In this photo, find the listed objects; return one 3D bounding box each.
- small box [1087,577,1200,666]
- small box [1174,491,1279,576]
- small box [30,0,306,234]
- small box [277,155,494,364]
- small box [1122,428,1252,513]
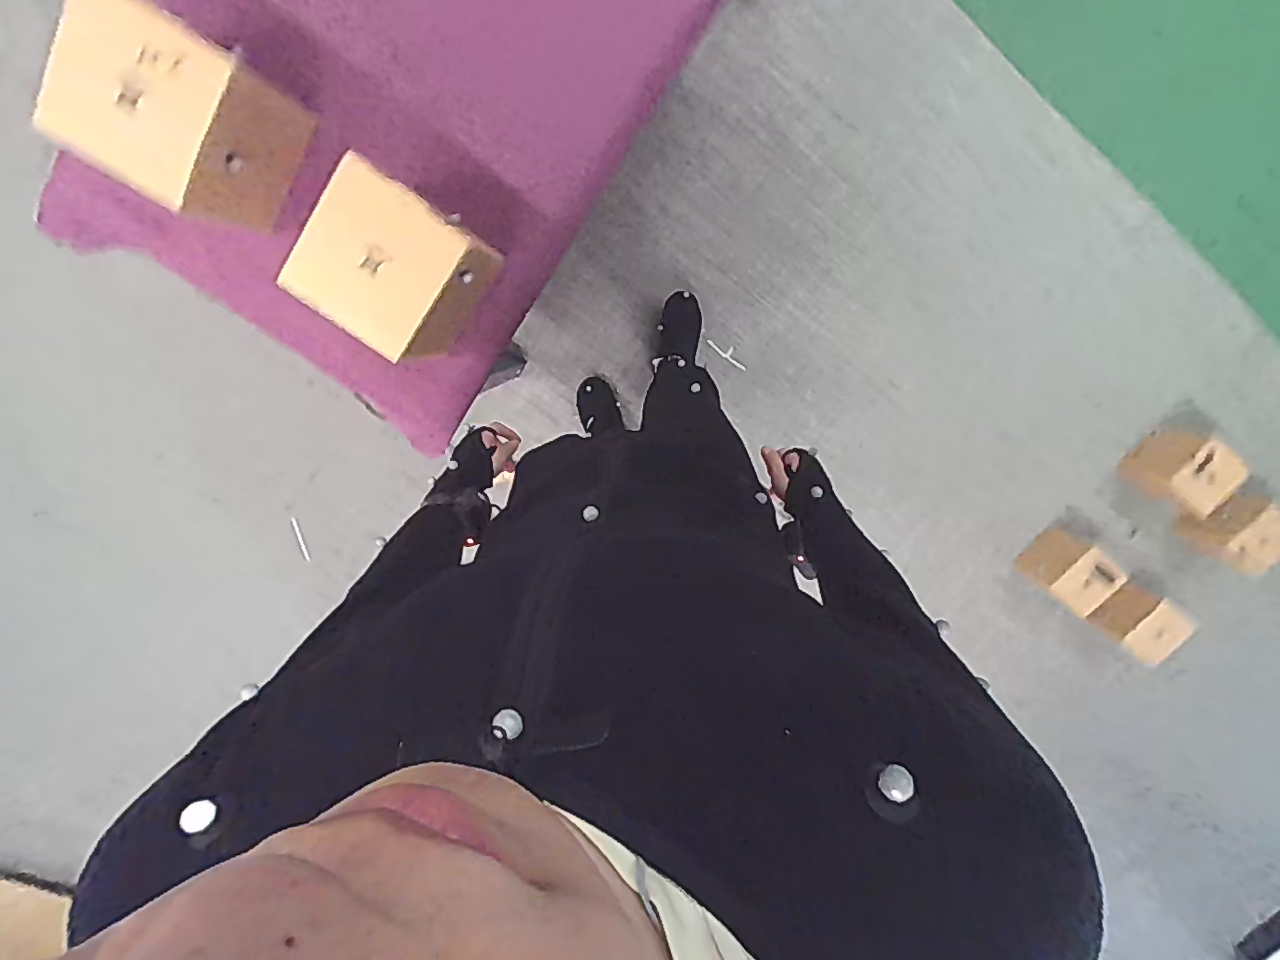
[{"bbox_3d":[1.569,0.441,1.704,0.168,0.176,0.179,35,101,-11],"label":"small box"},{"bbox_3d":[1.795,0.148,1.630,0.168,0.176,0.179,38,100,-11],"label":"small box"},{"bbox_3d":[-0.553,-0.431,0.660,0.168,0.176,0.179,31,102,-10],"label":"small box"},{"bbox_3d":[-0.315,-0.271,0.709,0.168,0.176,0.179,35,101,-8],"label":"small box"},{"bbox_3d":[1.578,-0.035,1.574,0.179,0.176,0.168,36,102,-11],"label":"small box"}]
